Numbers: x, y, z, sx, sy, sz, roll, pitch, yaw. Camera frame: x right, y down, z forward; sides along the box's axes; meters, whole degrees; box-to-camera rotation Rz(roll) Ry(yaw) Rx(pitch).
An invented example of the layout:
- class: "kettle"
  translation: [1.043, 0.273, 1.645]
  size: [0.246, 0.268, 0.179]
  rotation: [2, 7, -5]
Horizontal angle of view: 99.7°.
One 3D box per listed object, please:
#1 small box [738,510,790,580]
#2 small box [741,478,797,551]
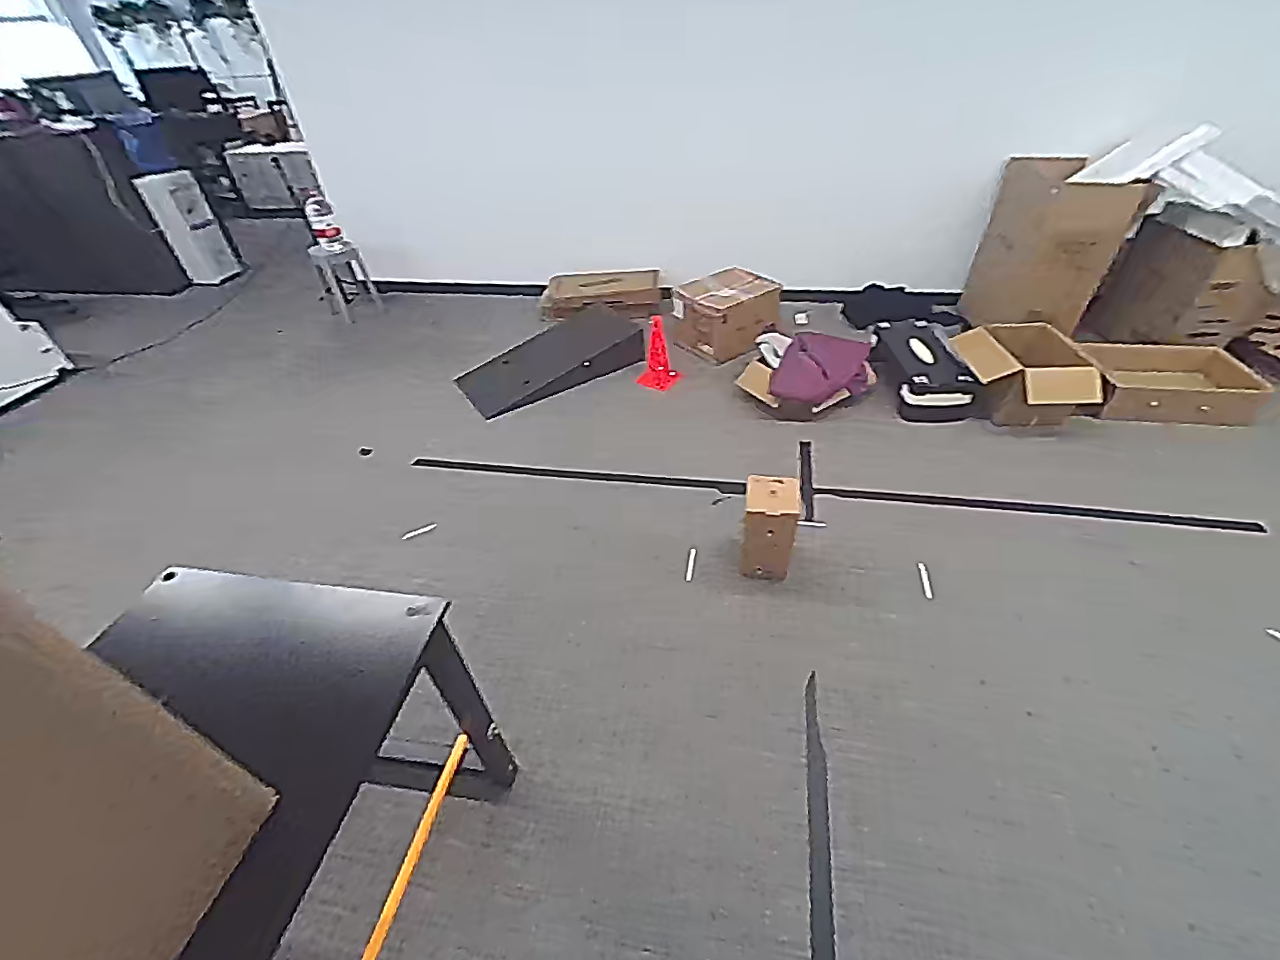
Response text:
- class: "small box"
  translation: [0.434, 0.228, 1.905]
  size: [0.168, 0.176, 0.179]
  rotation: [3, 42, 10]
- class: "small box"
  translation: [0.425, 0.115, 1.785]
  size: [0.168, 0.176, 0.179]
  rotation: [4, 42, 11]
